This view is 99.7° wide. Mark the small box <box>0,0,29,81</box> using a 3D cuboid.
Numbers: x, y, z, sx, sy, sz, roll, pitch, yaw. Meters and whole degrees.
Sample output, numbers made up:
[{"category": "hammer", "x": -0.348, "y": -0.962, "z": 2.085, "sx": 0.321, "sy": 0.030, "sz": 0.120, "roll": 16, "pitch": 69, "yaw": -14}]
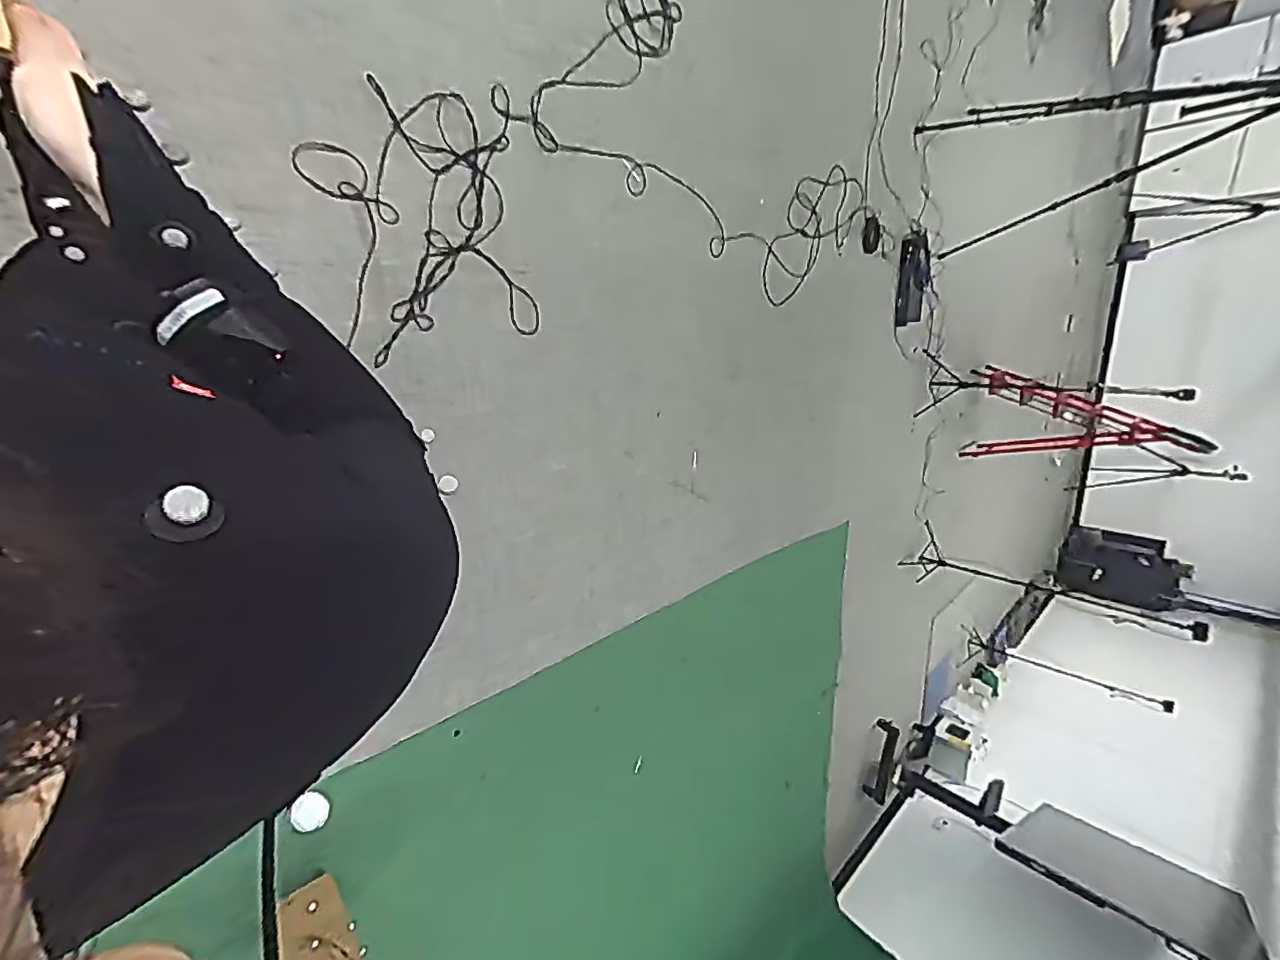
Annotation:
[{"category": "small box", "x": -0.436, "y": -0.318, "z": 0.256, "sx": 0.168, "sy": 0.176, "sz": 0.179, "roll": -13, "pitch": 121, "yaw": -41}]

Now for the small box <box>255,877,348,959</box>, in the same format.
[{"category": "small box", "x": -0.911, "y": 1.222, "z": 1.454, "sx": 0.168, "sy": 0.176, "sz": 0.179, "roll": -15, "pitch": 111, "yaw": -41}]
